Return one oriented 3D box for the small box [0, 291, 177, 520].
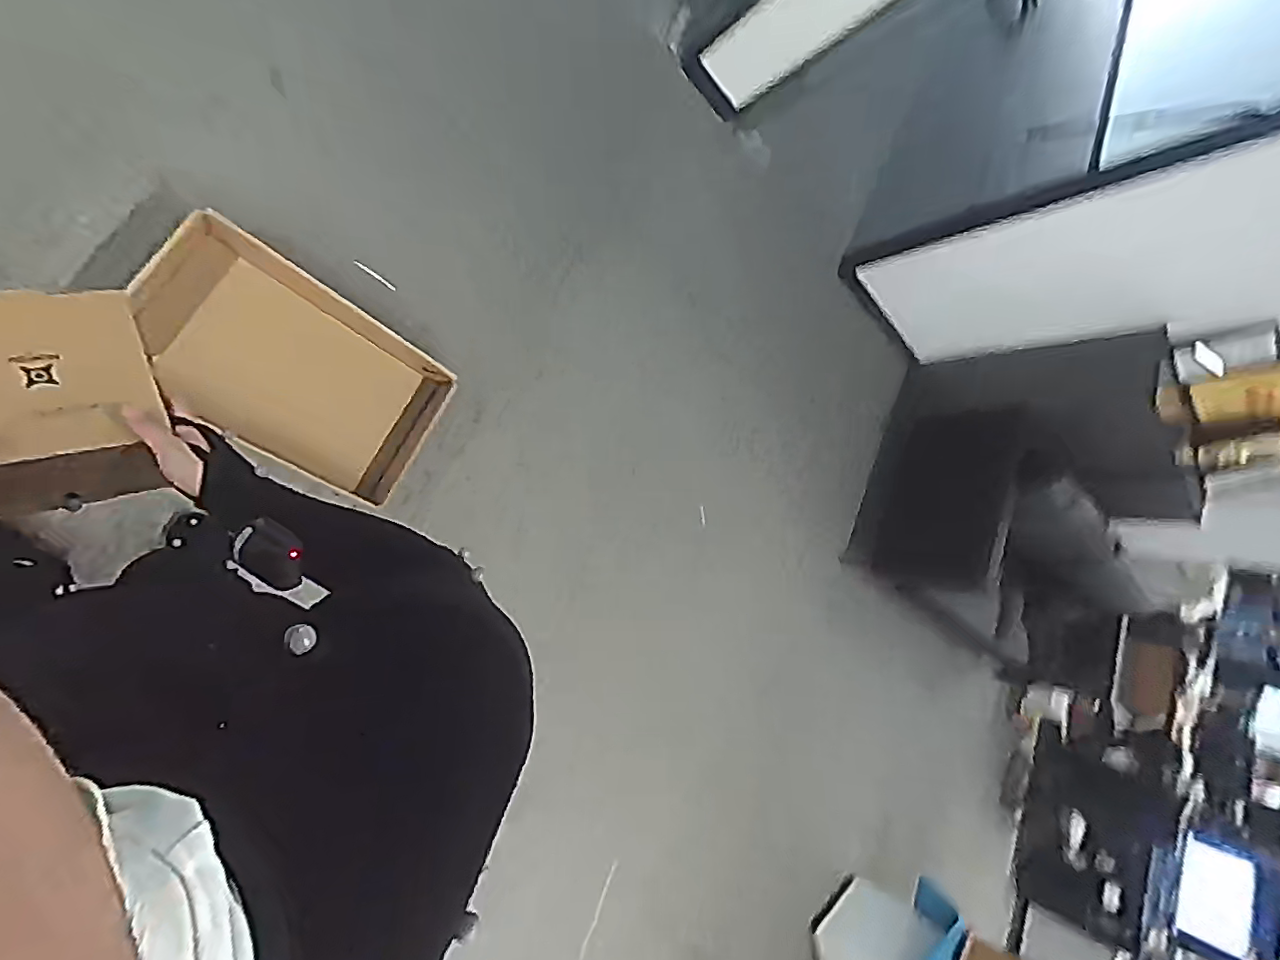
[{"bbox_3d":[-0.626,-0.077,0.576,0.168,0.176,0.179,-20,86,-40],"label":"small box"}]
